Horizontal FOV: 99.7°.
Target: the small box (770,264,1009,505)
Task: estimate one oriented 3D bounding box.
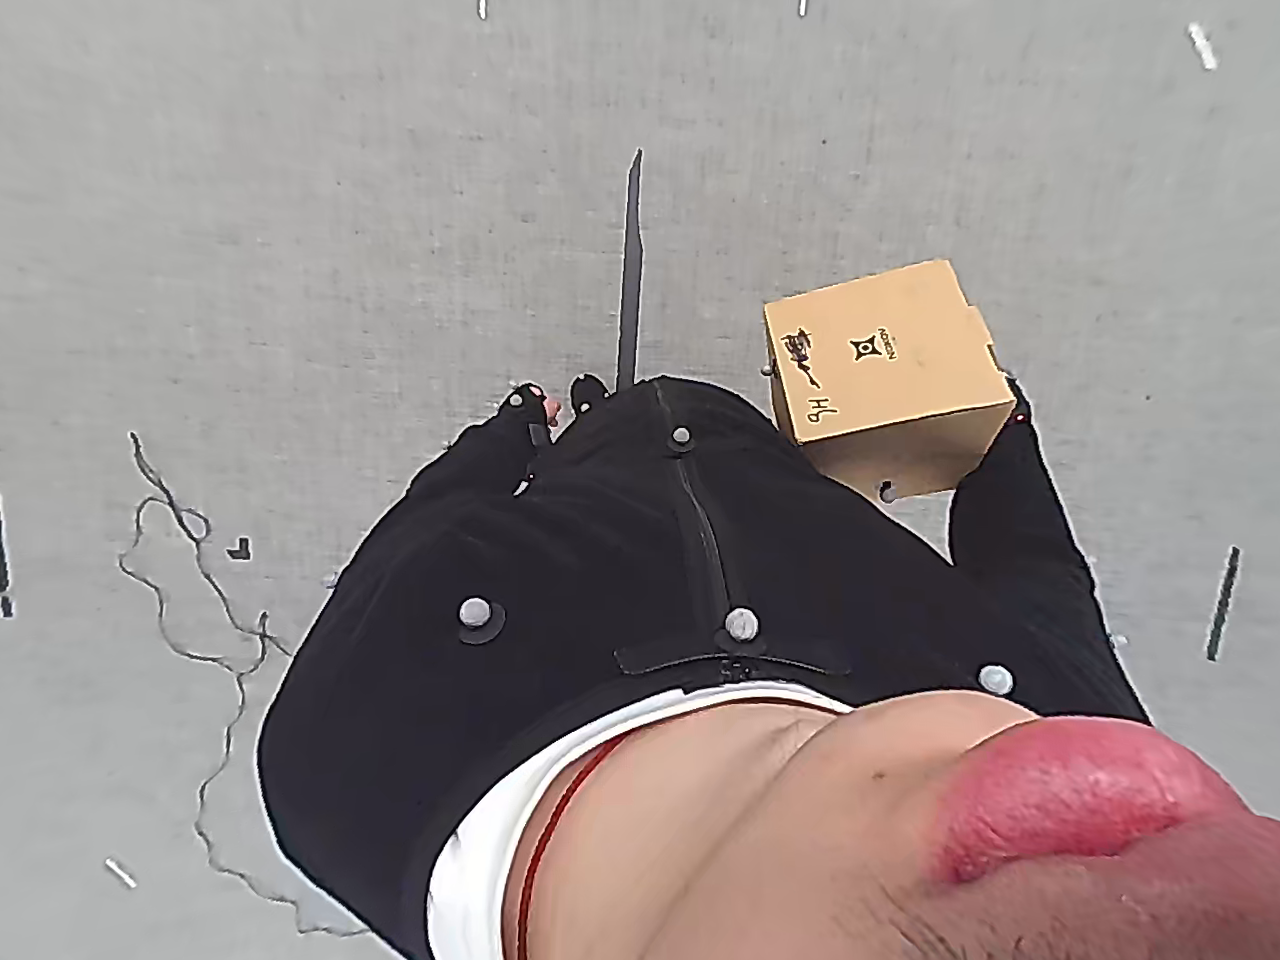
[{"bbox_3d":[0.240,-0.088,0.571,0.179,0.176,0.168,-11,61,12],"label":"small box"}]
